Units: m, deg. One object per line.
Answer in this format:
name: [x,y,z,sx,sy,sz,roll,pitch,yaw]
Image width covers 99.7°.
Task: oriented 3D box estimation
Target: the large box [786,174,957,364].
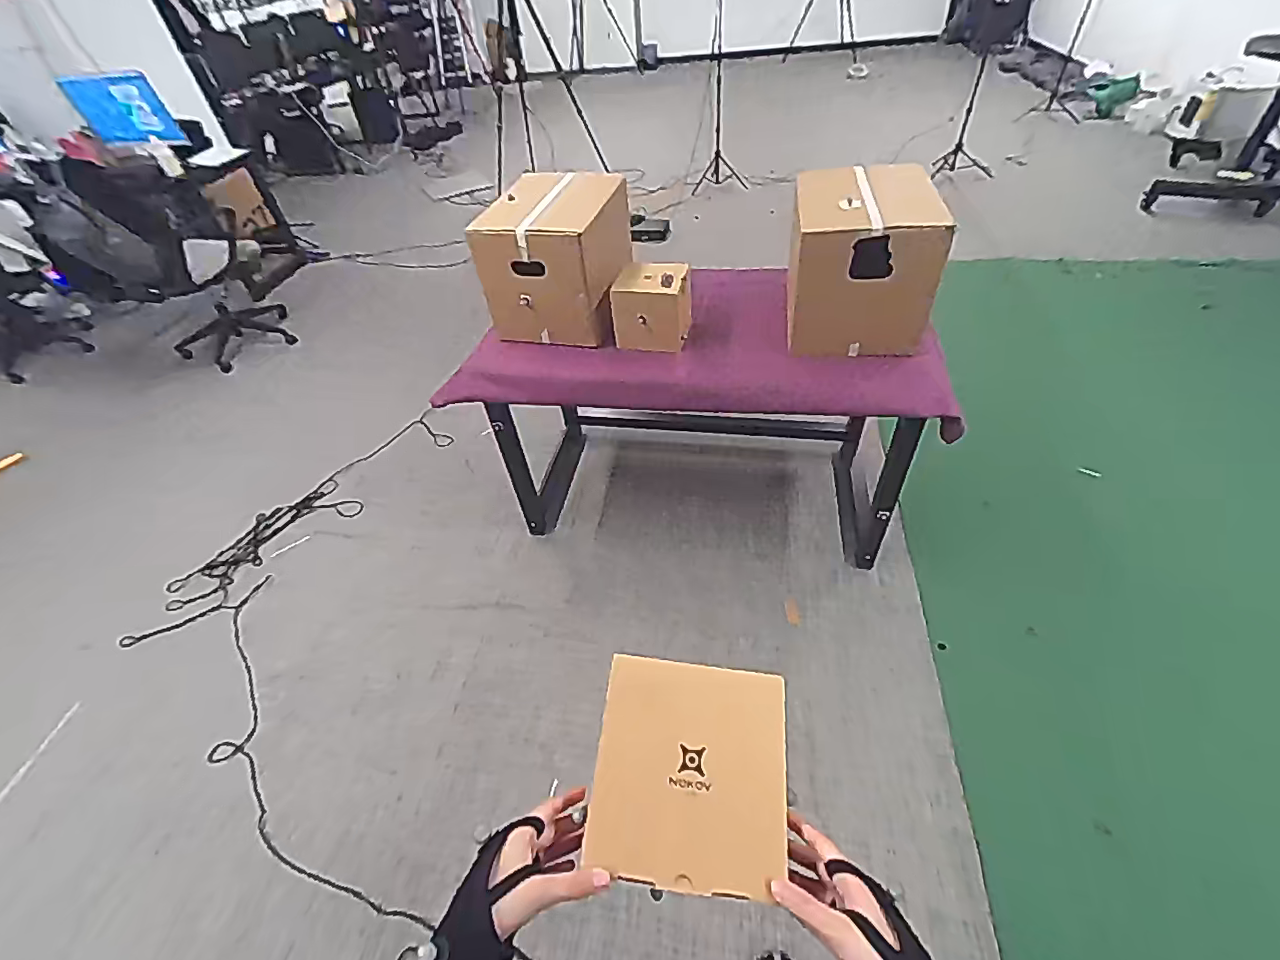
large box: [0.547,-0.539,1.374,0.320,0.320,0.408,2,46,12]
